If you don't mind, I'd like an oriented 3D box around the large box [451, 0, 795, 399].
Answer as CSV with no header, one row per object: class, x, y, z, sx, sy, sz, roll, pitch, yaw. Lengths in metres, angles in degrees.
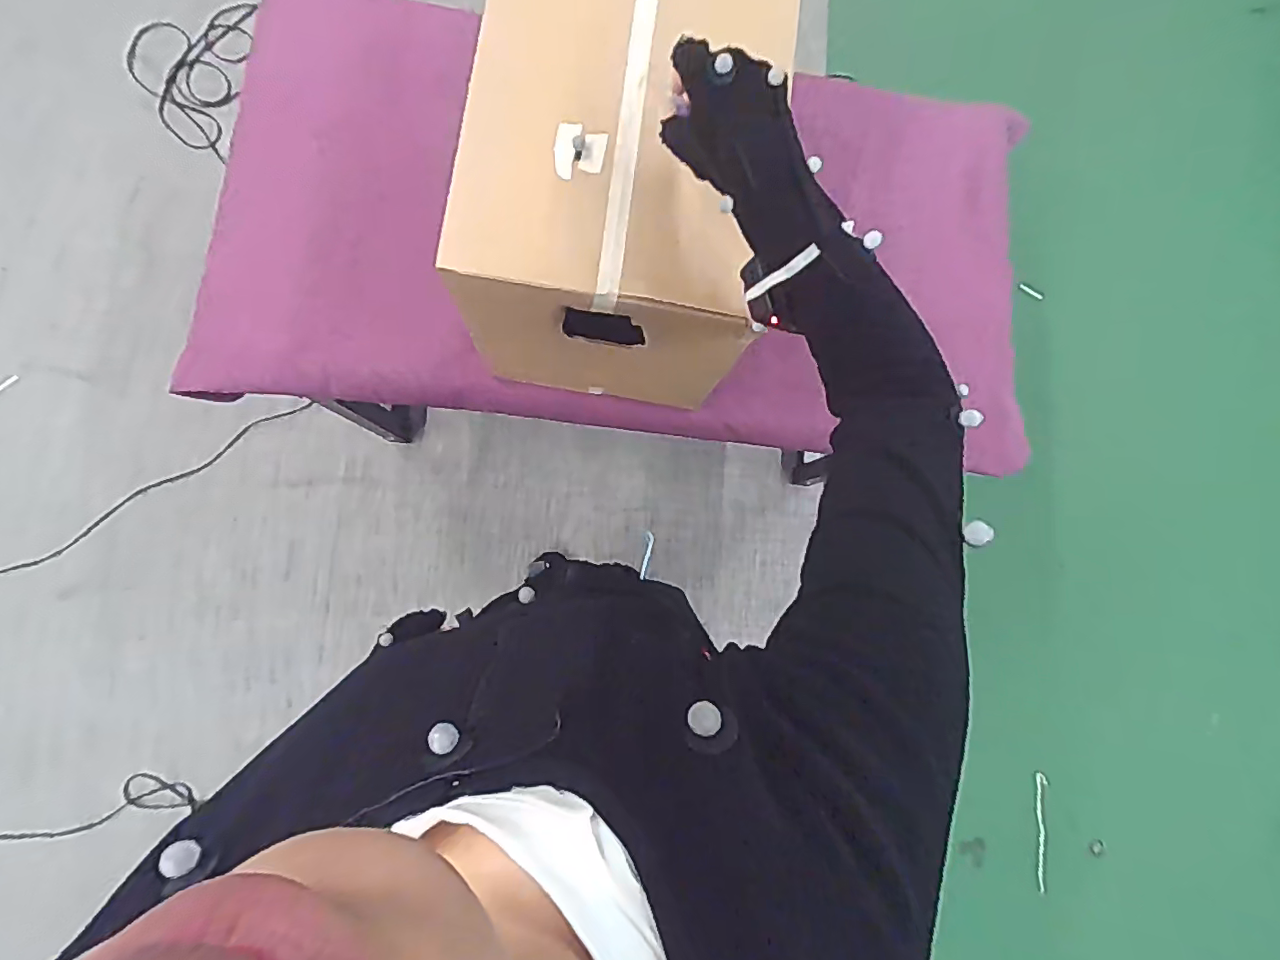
large box,-0.024,-0.354,0.689,0.320,0.320,0.408,8,83,-6
